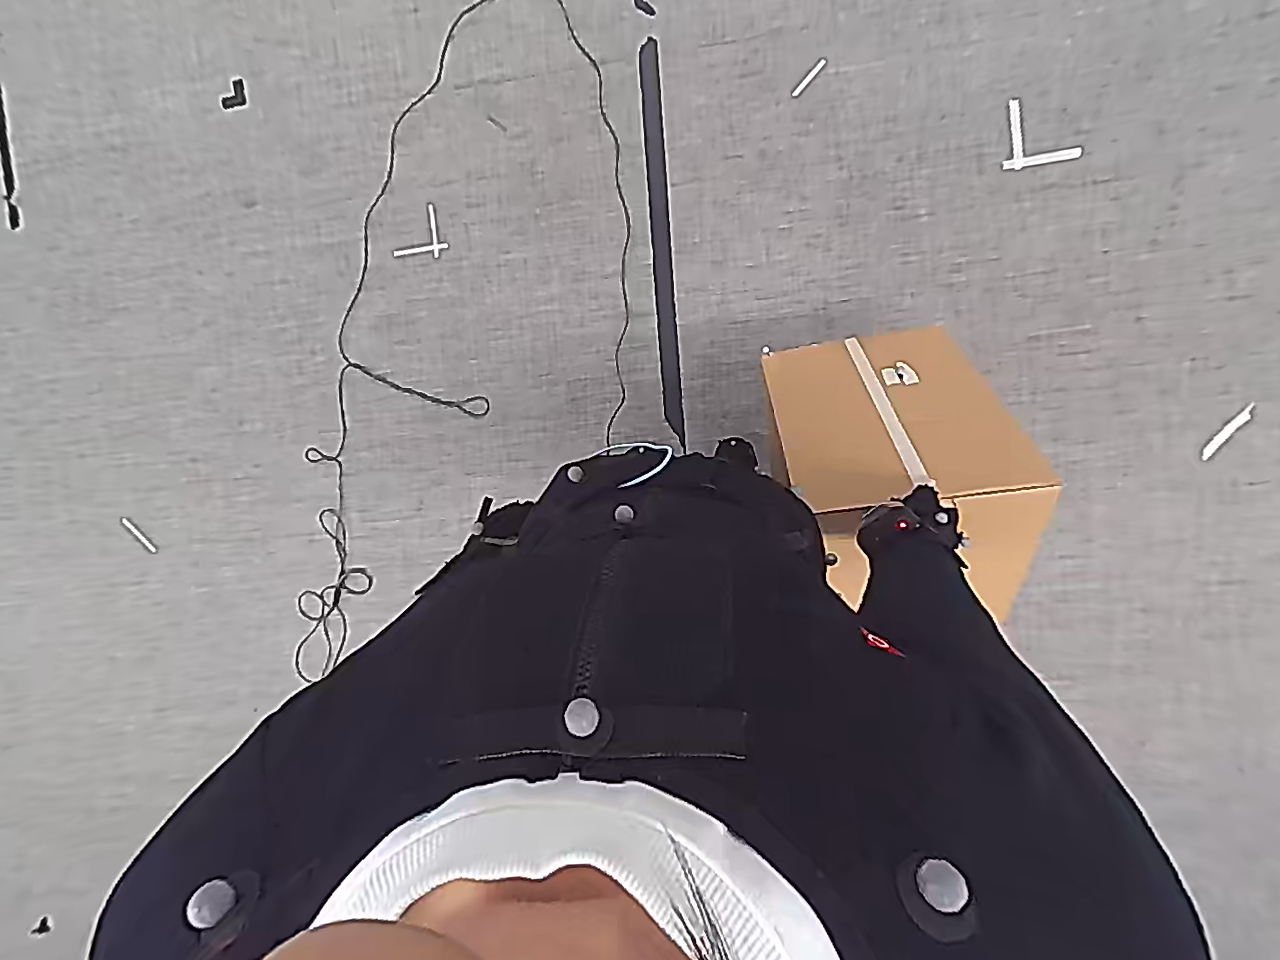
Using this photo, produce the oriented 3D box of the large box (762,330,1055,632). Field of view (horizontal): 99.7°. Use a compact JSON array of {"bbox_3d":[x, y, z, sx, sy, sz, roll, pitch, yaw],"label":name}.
[{"bbox_3d":[0.406,-0.003,0.935,0.320,0.408,0.320,-8,132,9],"label":"large box"}]
